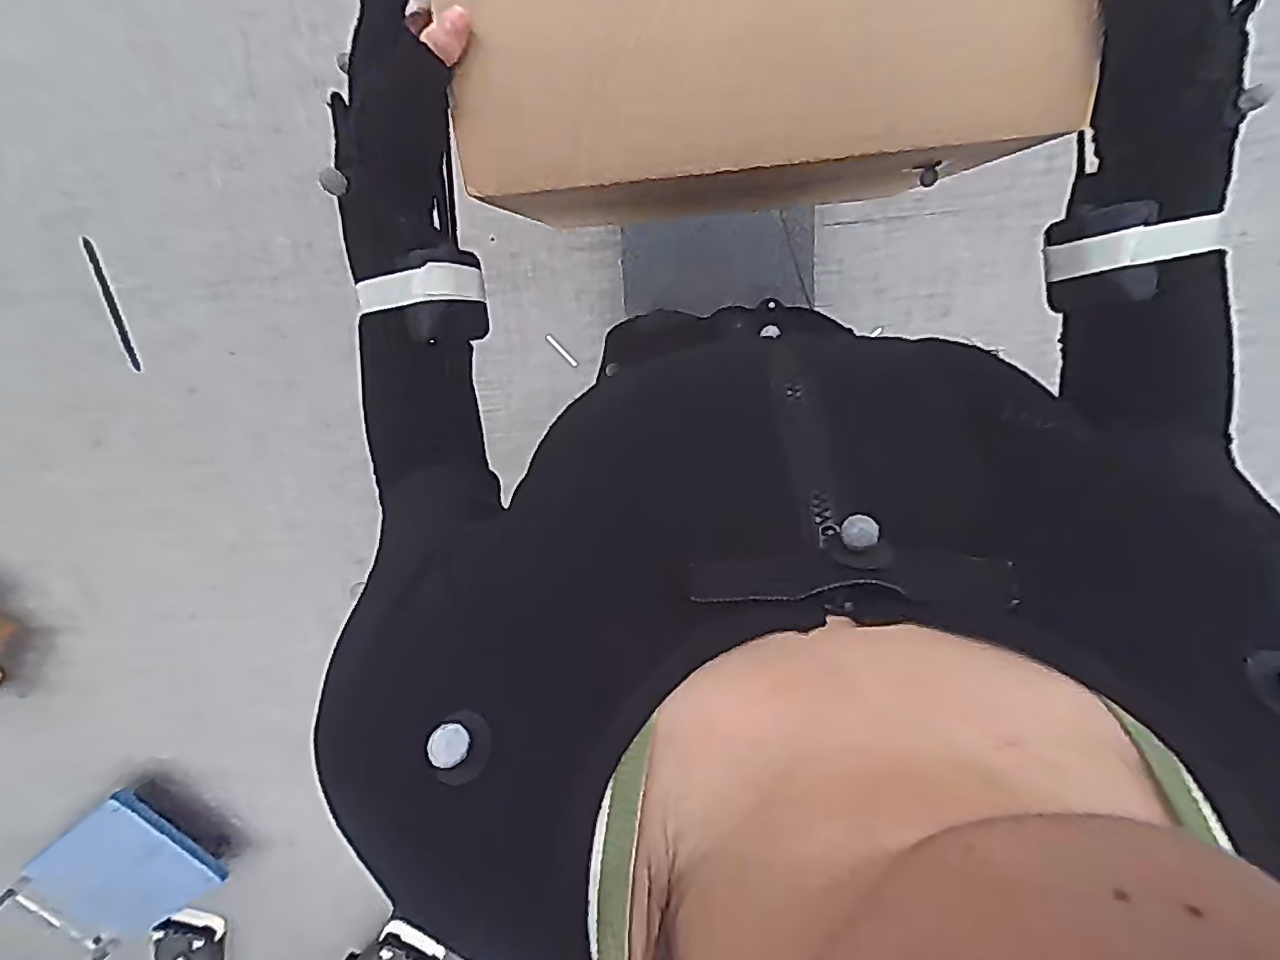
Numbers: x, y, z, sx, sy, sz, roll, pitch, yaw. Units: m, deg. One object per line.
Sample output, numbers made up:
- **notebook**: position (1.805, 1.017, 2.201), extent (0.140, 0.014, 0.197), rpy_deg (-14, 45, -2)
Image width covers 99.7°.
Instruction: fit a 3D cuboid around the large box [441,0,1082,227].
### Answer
- **large box**: position (0.073, -0.408, 0.454), extent (0.408, 0.320, 0.320), rpy_deg (-4, 110, 4)
